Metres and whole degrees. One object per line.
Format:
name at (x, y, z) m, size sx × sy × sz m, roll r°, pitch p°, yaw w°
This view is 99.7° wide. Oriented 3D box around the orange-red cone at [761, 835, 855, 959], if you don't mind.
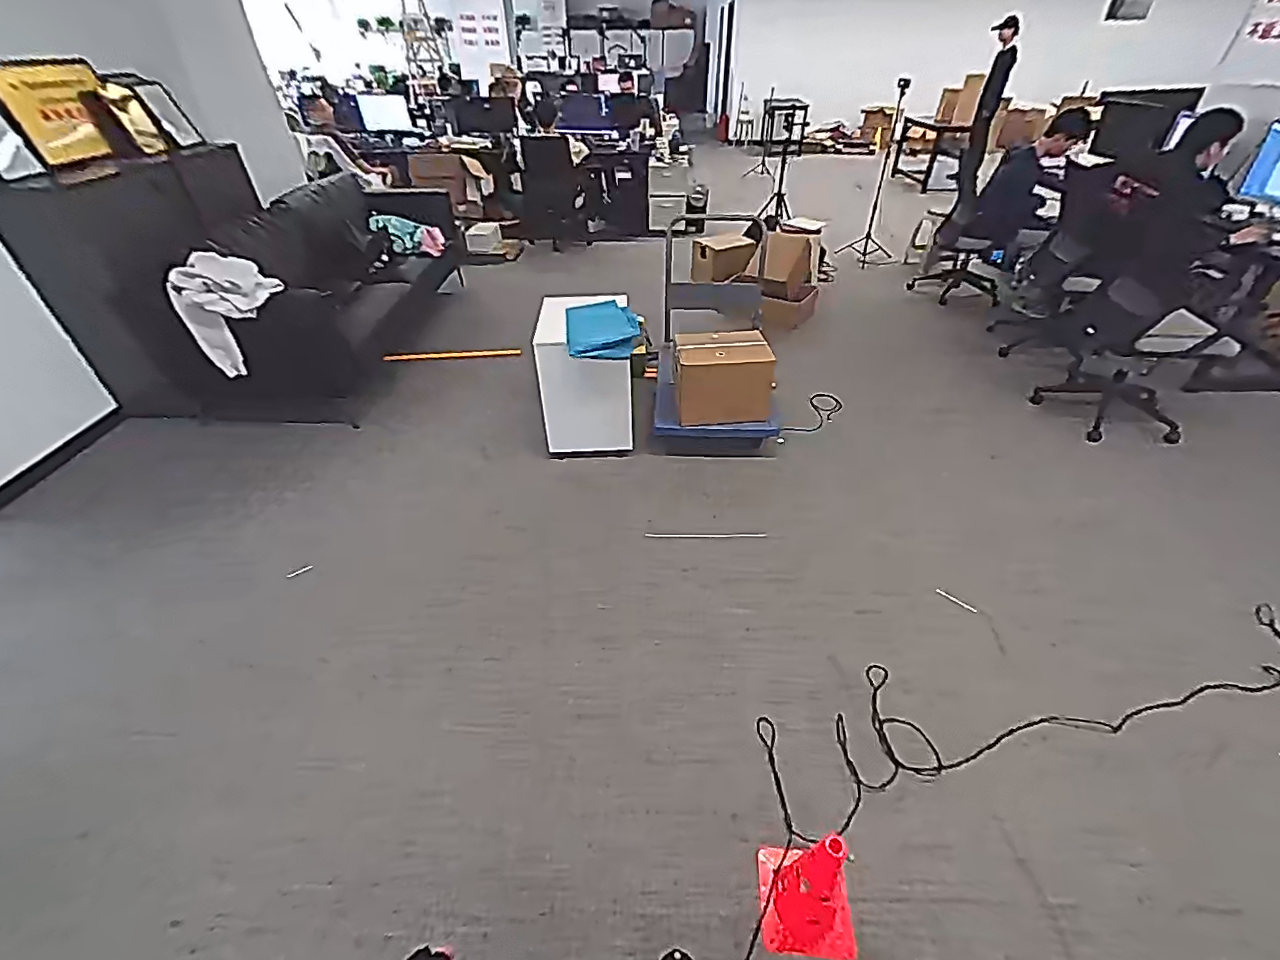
orange-red cone at (0.372, 0.826, 1.126) m, size 0.198 × 0.360 × 0.199 m, roll 3°, pitch 40°, yaw 6°
